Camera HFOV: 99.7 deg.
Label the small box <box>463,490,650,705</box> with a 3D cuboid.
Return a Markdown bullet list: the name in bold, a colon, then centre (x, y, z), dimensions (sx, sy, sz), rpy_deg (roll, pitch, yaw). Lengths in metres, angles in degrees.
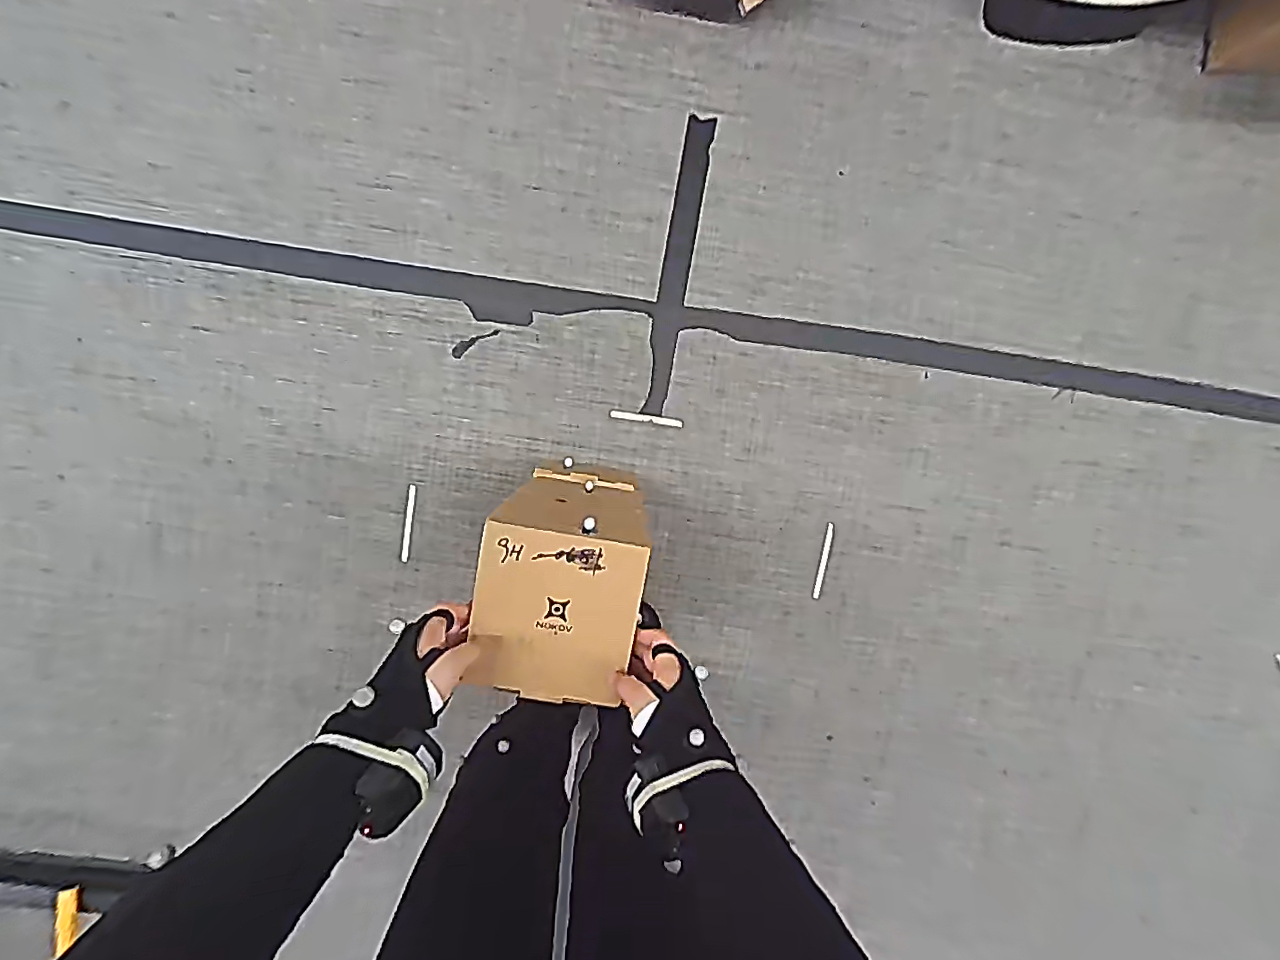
- **small box**: centre (-0.087, 0.122, 0.618), dimensions (0.168, 0.176, 0.179), rpy_deg (10, 99, -4)

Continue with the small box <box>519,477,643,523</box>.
- **small box**: centre (-0.093, 0.098, 0.787), dimensions (0.168, 0.176, 0.179), rpy_deg (9, 97, -1)

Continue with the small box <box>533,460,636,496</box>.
- **small box**: centre (-0.102, 0.066, 0.949), dimensions (0.168, 0.176, 0.179), rpy_deg (9, 99, -1)
